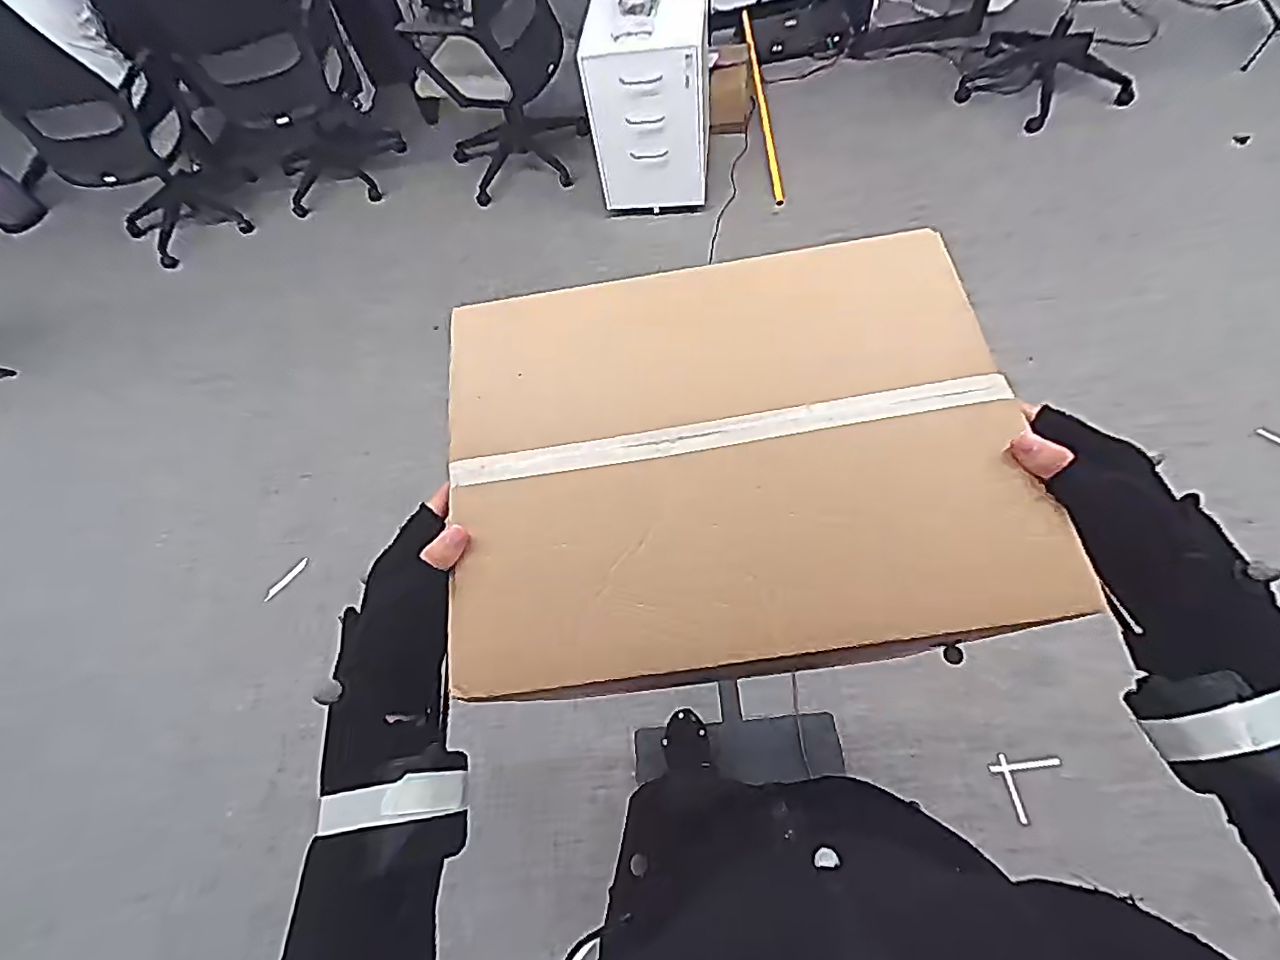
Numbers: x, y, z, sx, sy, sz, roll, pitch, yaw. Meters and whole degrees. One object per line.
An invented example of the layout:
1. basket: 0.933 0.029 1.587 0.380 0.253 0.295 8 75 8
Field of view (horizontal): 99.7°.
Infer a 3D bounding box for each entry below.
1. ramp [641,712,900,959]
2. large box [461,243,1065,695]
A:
1. ramp: 0.266 0.998 1.051 0.509 0.206 0.991 -9 62 5
2. large box: 0.076 0.025 0.545 0.408 0.320 0.320 -9 67 3
